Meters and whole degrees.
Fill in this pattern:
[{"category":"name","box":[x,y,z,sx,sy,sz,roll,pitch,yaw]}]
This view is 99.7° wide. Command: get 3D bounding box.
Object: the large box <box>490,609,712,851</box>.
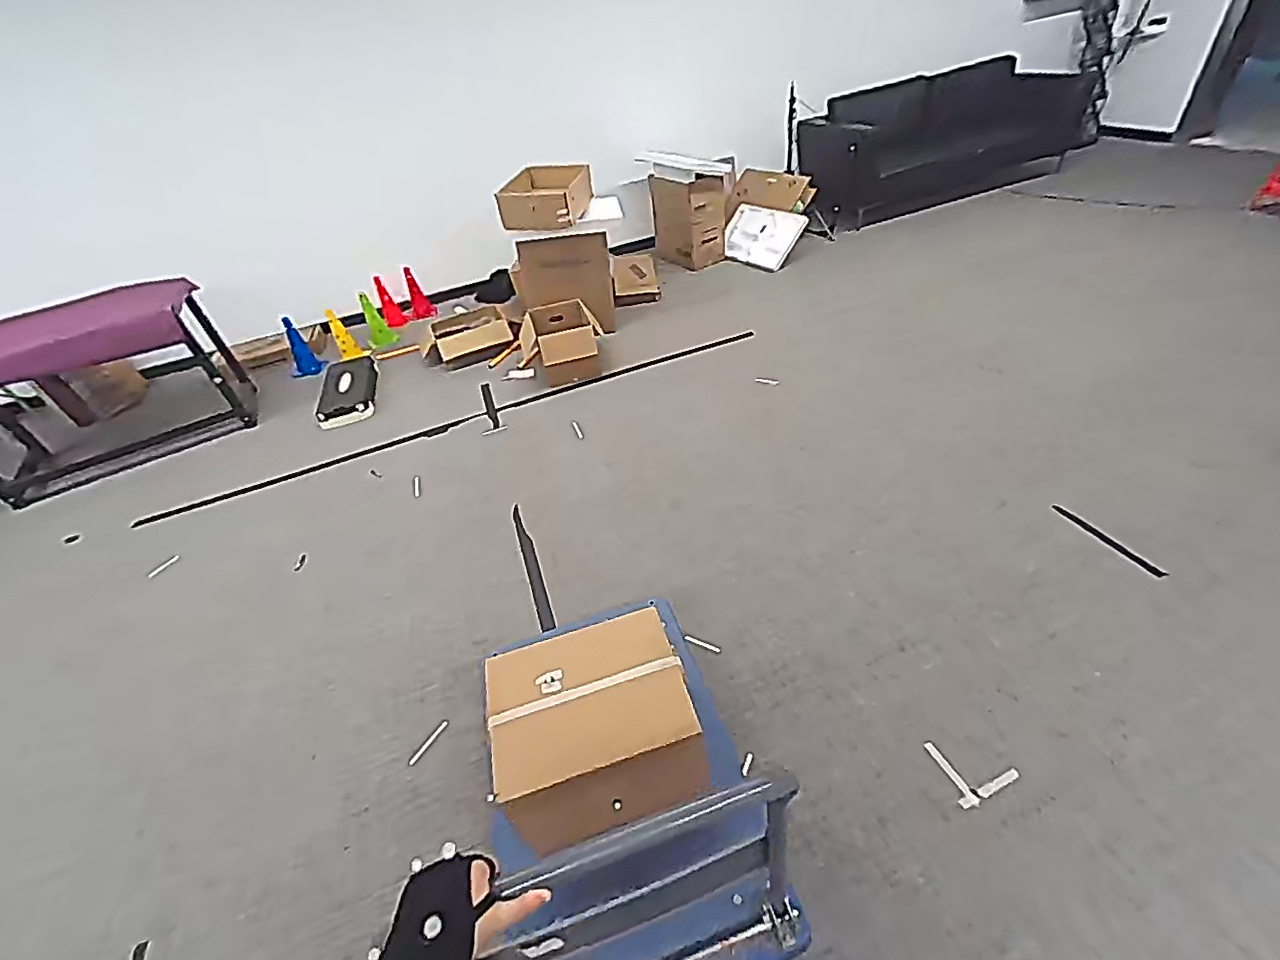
[{"category":"large box","box":[-0.085,0.561,1.227,0.408,0.320,0.320,-17,40,-6]}]
